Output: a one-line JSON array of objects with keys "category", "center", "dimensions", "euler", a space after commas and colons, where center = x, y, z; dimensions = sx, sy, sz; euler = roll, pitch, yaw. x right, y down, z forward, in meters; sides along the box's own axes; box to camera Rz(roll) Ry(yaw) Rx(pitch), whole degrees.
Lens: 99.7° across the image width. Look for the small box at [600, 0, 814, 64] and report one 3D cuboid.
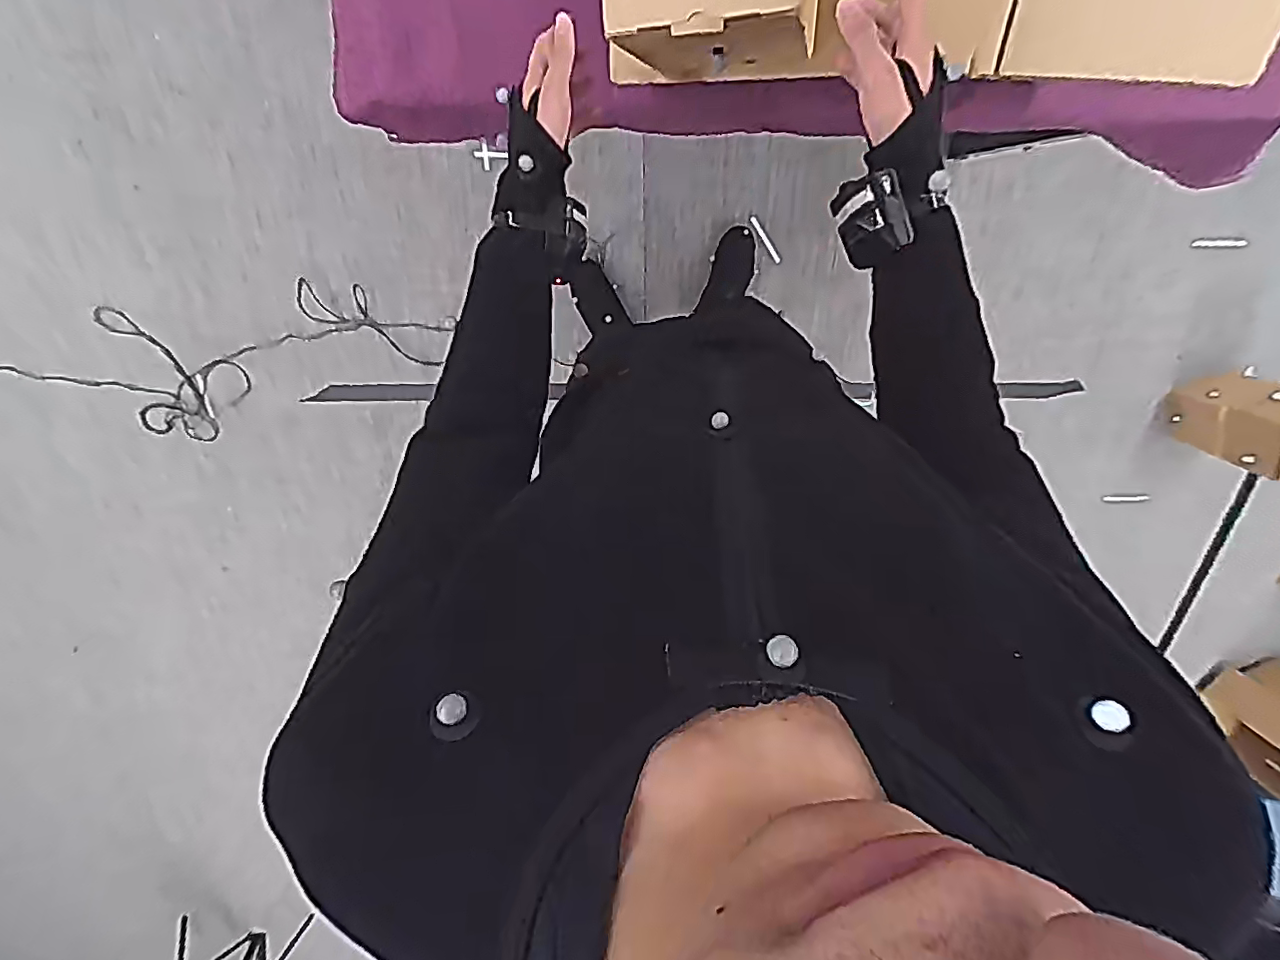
[{"category": "small box", "center": [0.069, -0.485, 0.471], "dimensions": [0.168, 0.176, 0.179], "euler": [8, 119, 16]}]
